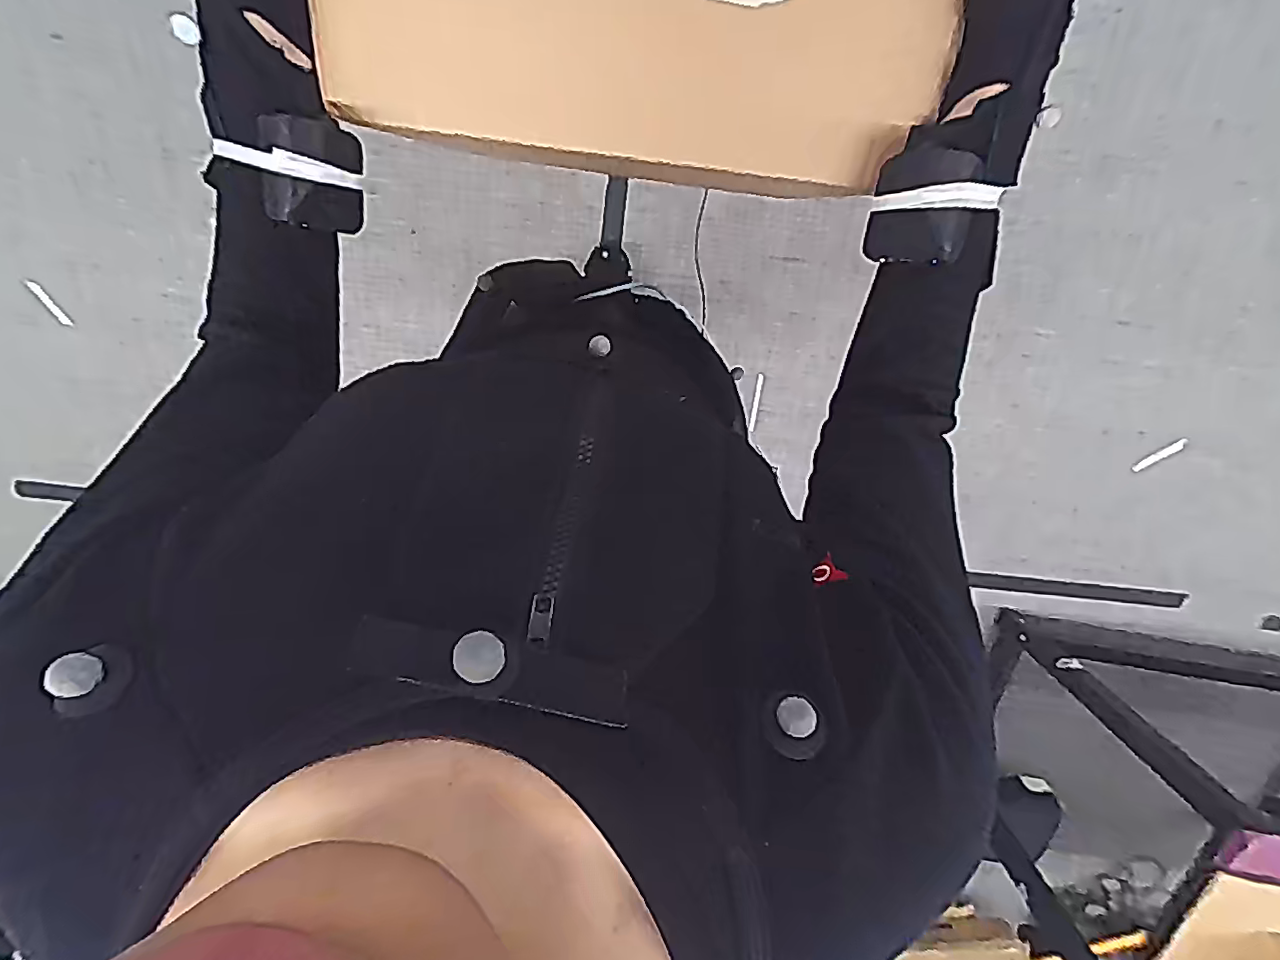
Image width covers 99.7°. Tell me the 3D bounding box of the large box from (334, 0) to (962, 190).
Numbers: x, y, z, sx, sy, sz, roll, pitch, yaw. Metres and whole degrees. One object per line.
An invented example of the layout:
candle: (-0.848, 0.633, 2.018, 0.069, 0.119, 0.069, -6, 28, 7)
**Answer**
large box: (0.011, -0.433, 0.442, 0.408, 0.320, 0.320, 6, 118, -3)
